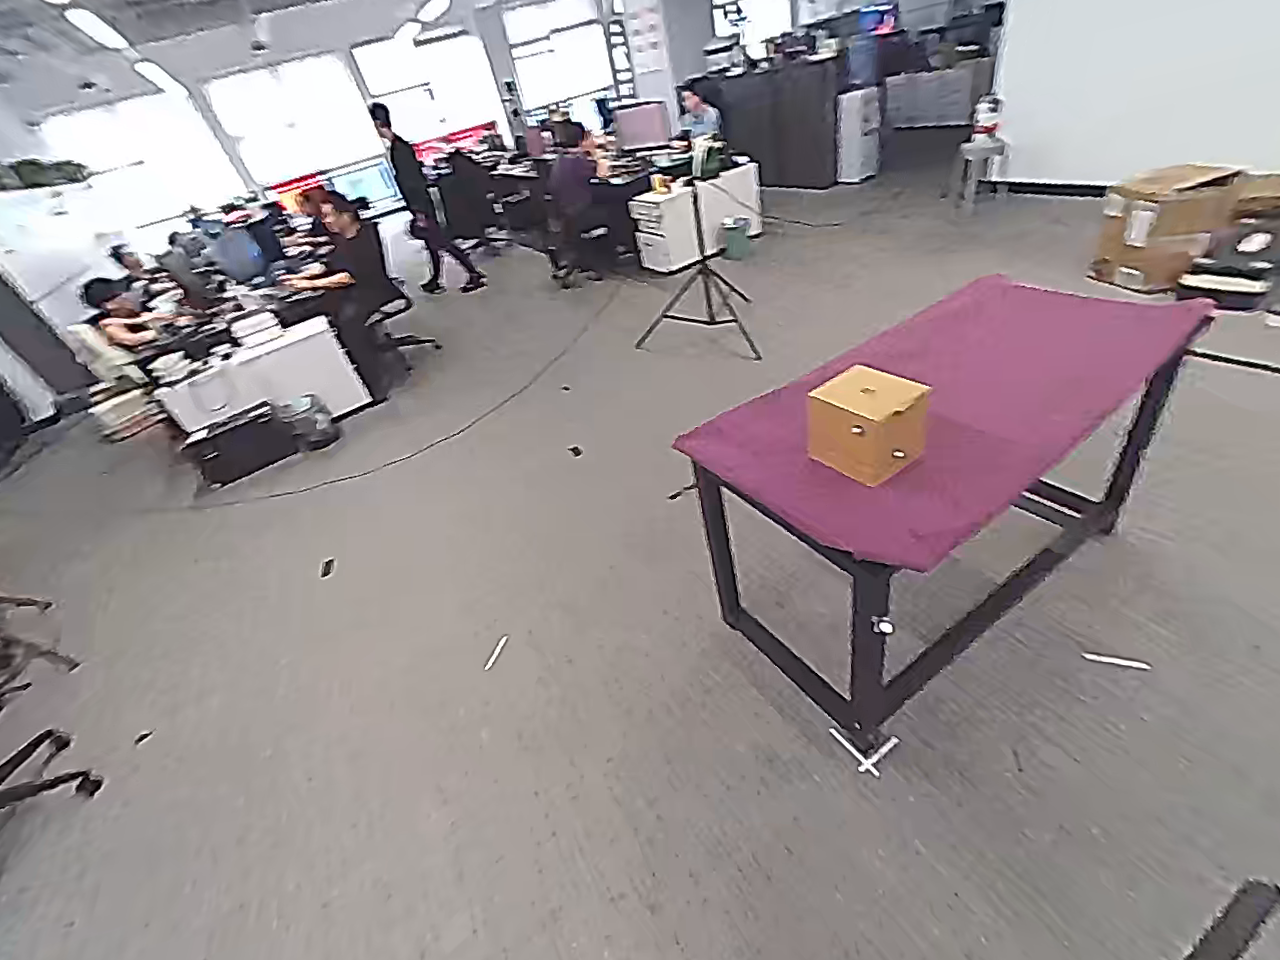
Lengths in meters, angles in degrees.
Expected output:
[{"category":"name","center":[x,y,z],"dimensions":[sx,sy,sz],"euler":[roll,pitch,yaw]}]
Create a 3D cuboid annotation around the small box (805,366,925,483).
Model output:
[{"category":"small box","center":[0.479,-0.120,1.170],"dimensions":[0.168,0.176,0.179],"euler":[-31,40,-21]}]
